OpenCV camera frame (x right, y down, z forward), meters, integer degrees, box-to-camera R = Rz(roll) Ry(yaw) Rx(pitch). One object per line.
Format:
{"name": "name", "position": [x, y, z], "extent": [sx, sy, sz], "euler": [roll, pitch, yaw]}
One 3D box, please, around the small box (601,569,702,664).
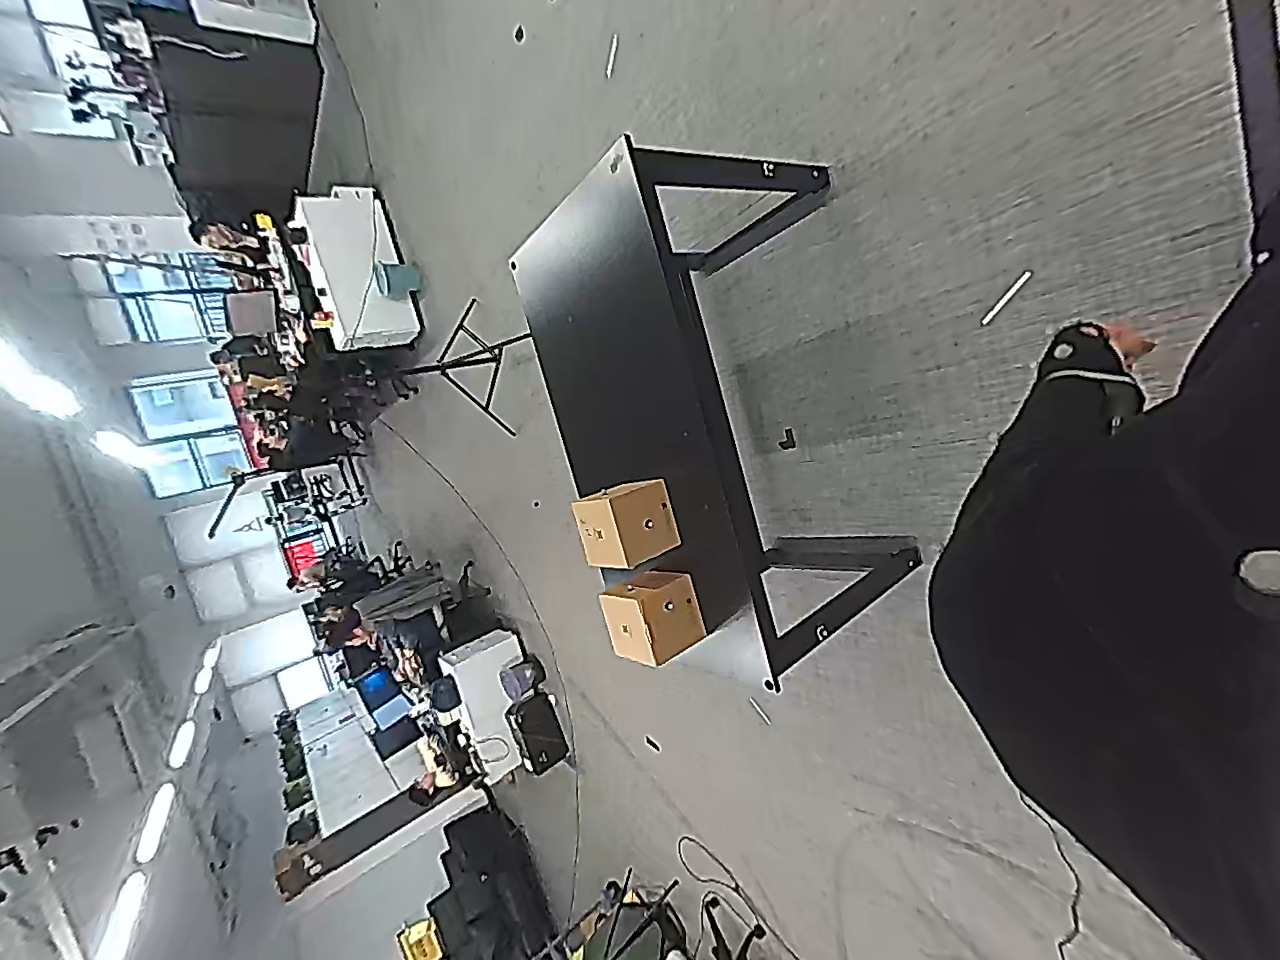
{"name": "small box", "position": [0.034, 0.328, 1.336], "extent": [0.179, 0.176, 0.168], "euler": [-9, 98, 56]}

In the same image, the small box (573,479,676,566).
{"name": "small box", "position": [-0.032, 0.099, 1.310], "extent": [0.179, 0.176, 0.168], "euler": [-7, 99, 54]}
